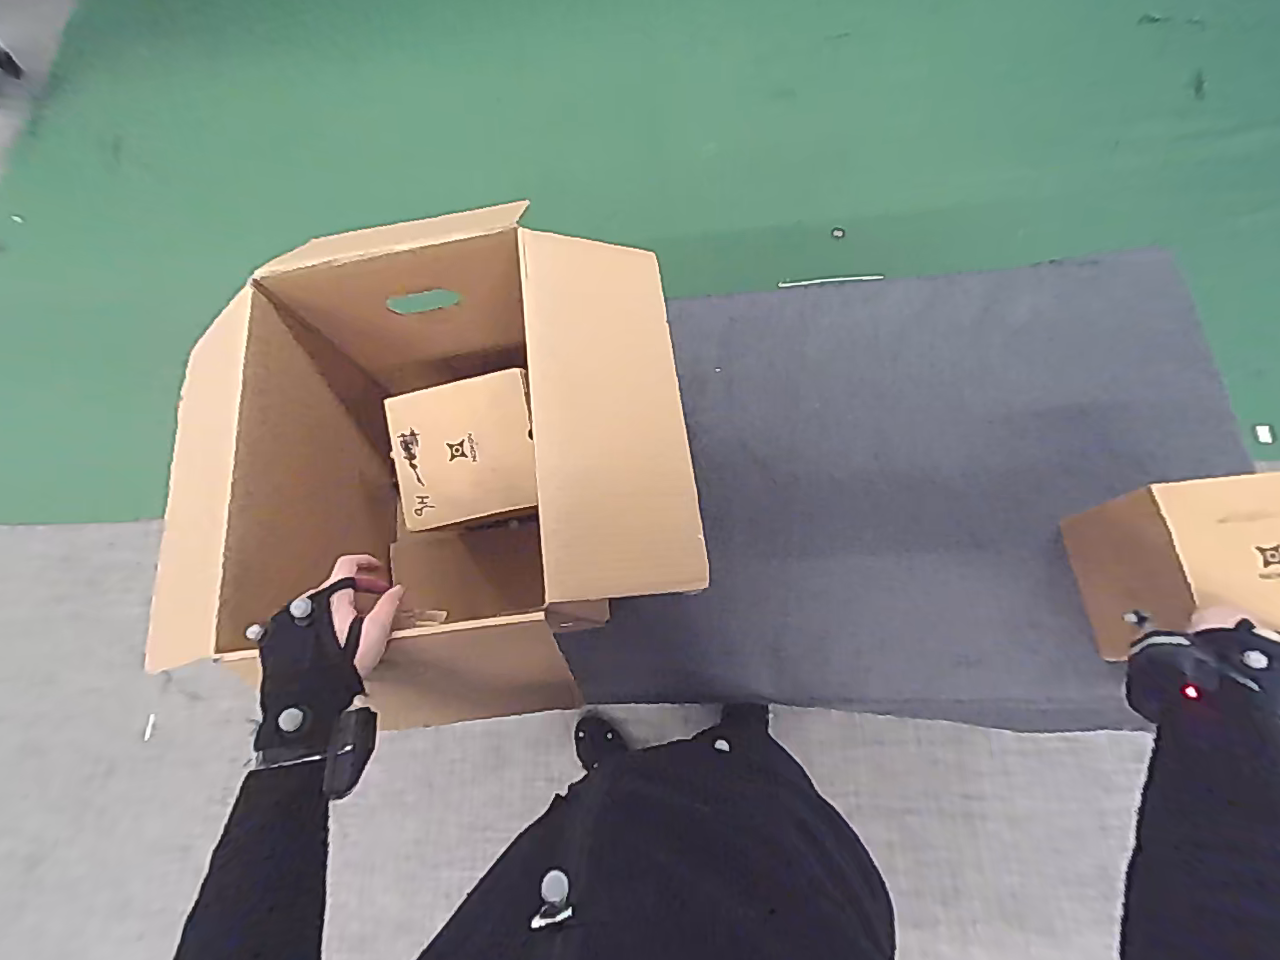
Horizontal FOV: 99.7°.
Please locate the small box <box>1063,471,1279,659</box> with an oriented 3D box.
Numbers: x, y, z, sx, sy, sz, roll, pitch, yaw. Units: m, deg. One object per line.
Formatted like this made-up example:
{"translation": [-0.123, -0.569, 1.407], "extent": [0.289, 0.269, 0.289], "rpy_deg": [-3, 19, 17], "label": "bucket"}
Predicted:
{"translation": [0.626, 0.101, 0.602], "extent": [0.168, 0.176, 0.179], "rpy_deg": [-6, 71, 6], "label": "small box"}
